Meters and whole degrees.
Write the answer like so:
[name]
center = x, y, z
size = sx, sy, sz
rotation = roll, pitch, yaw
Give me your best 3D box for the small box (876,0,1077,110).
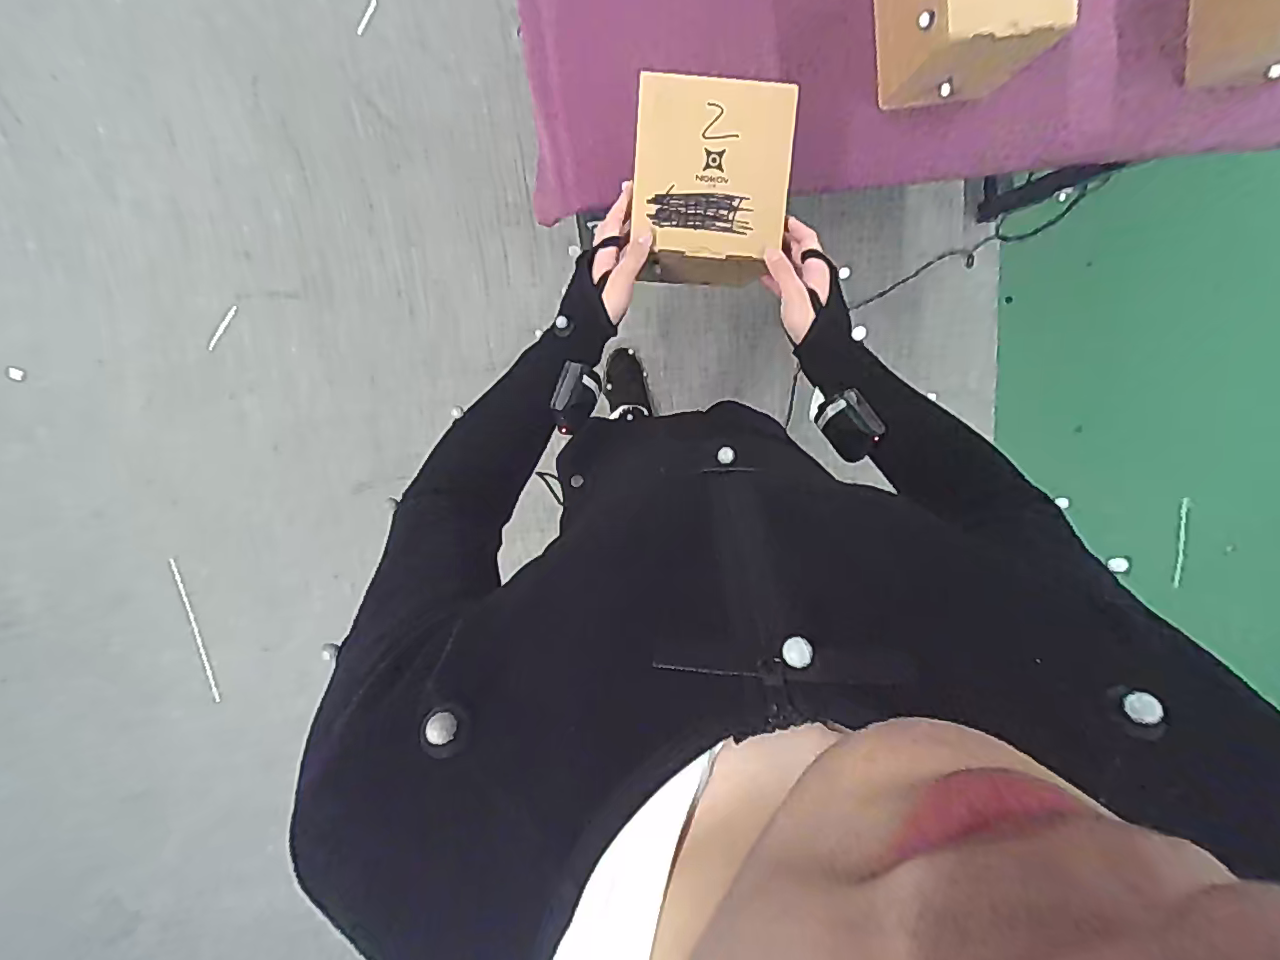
[small box]
center = 0.431, -0.632, 0.716
size = 0.168, 0.176, 0.179
rotation = -8, 101, -3
